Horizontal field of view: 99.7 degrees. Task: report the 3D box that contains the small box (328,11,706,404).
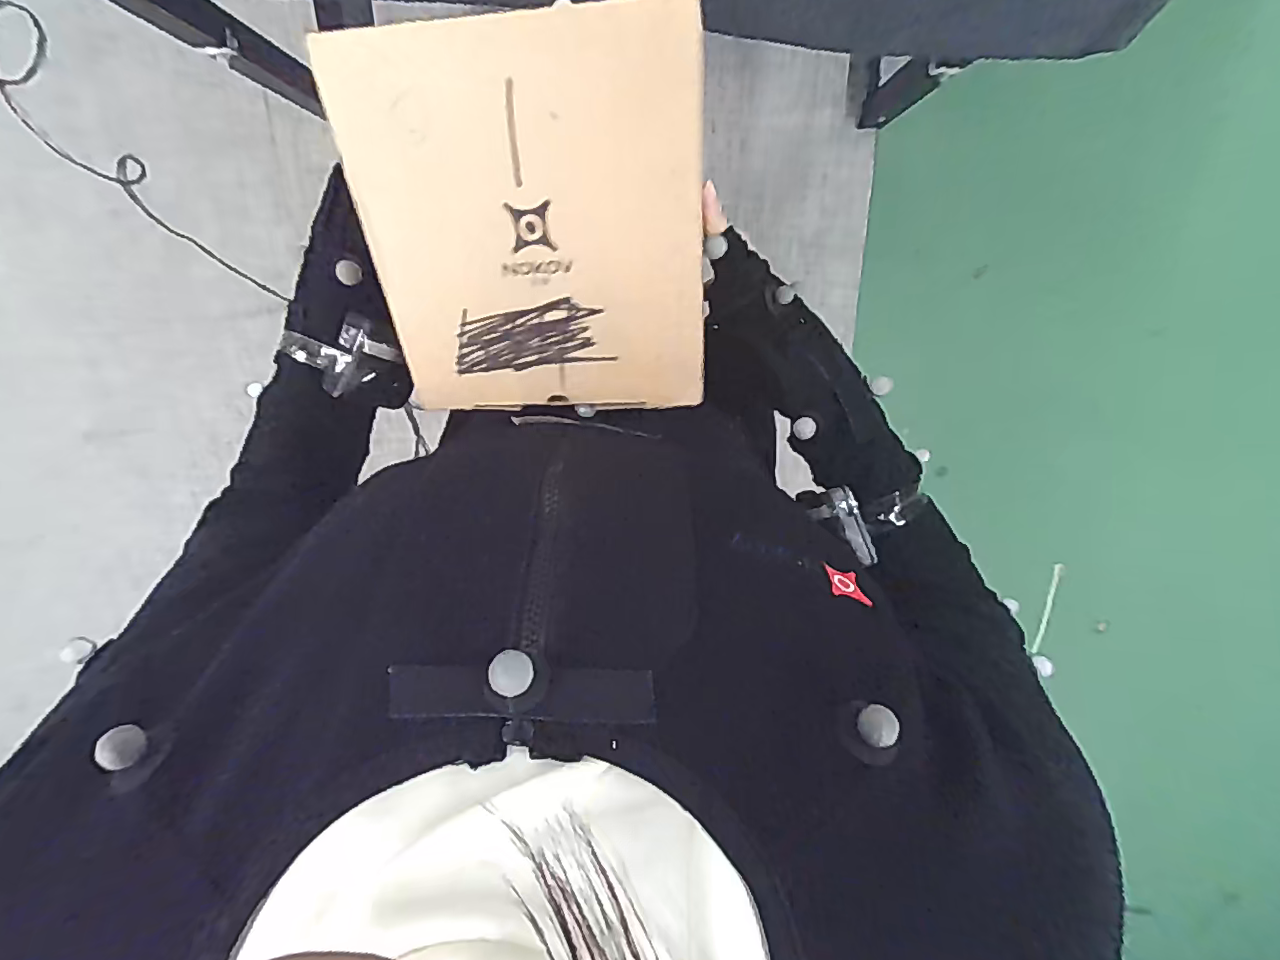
[{"bbox_3d":[-0.044,-0.162,0.338,0.168,0.176,0.179,0,122,6],"label":"small box"}]
